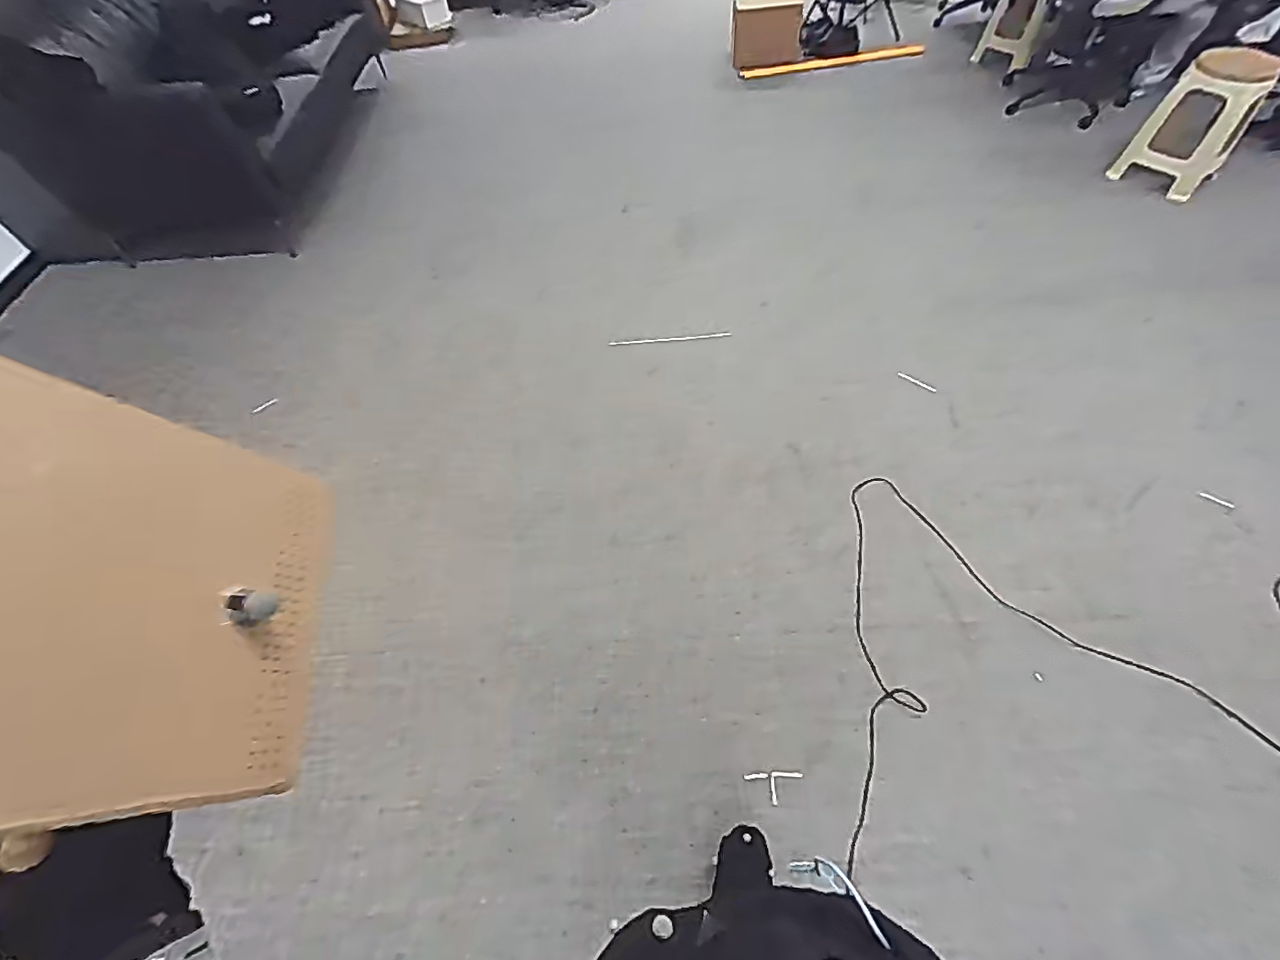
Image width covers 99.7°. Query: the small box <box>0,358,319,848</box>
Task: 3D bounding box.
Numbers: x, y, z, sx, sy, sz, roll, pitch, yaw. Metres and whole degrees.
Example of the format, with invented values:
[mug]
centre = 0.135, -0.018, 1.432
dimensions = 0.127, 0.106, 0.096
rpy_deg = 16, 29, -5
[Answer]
[small box]
centre = -0.290, 0.074, 0.260
dimensions = 0.168, 0.176, 0.179
rpy_deg = -18, 64, 18
